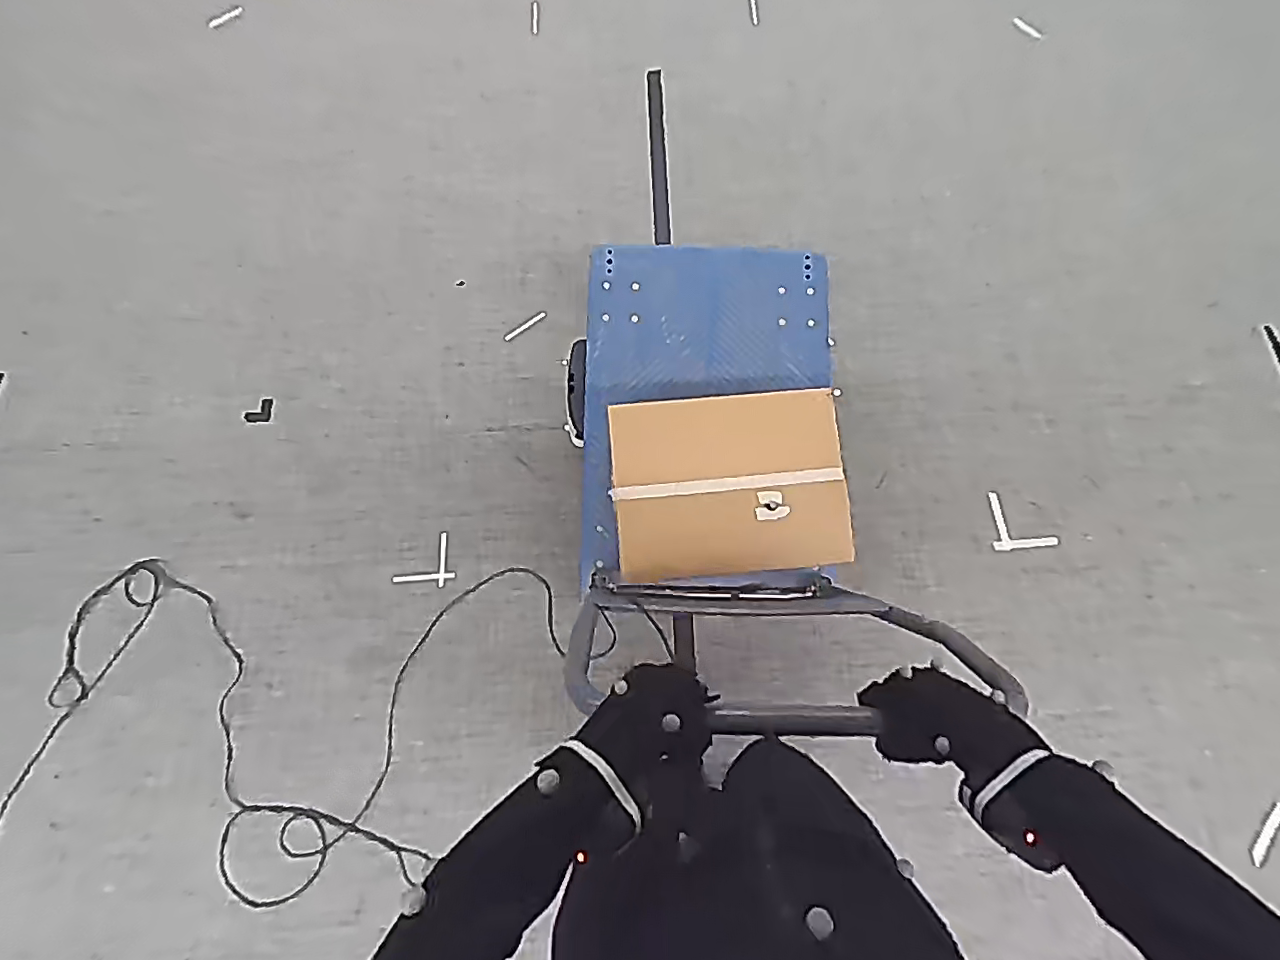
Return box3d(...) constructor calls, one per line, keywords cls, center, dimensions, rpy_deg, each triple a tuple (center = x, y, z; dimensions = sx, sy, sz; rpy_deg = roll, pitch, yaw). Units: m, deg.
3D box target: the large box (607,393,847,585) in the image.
box3d(cls="large box", center=(0.148, 0.030, 1.112), dimensions=(0.408, 0.320, 0.320), rpy_deg=(-5, 84, -3))
